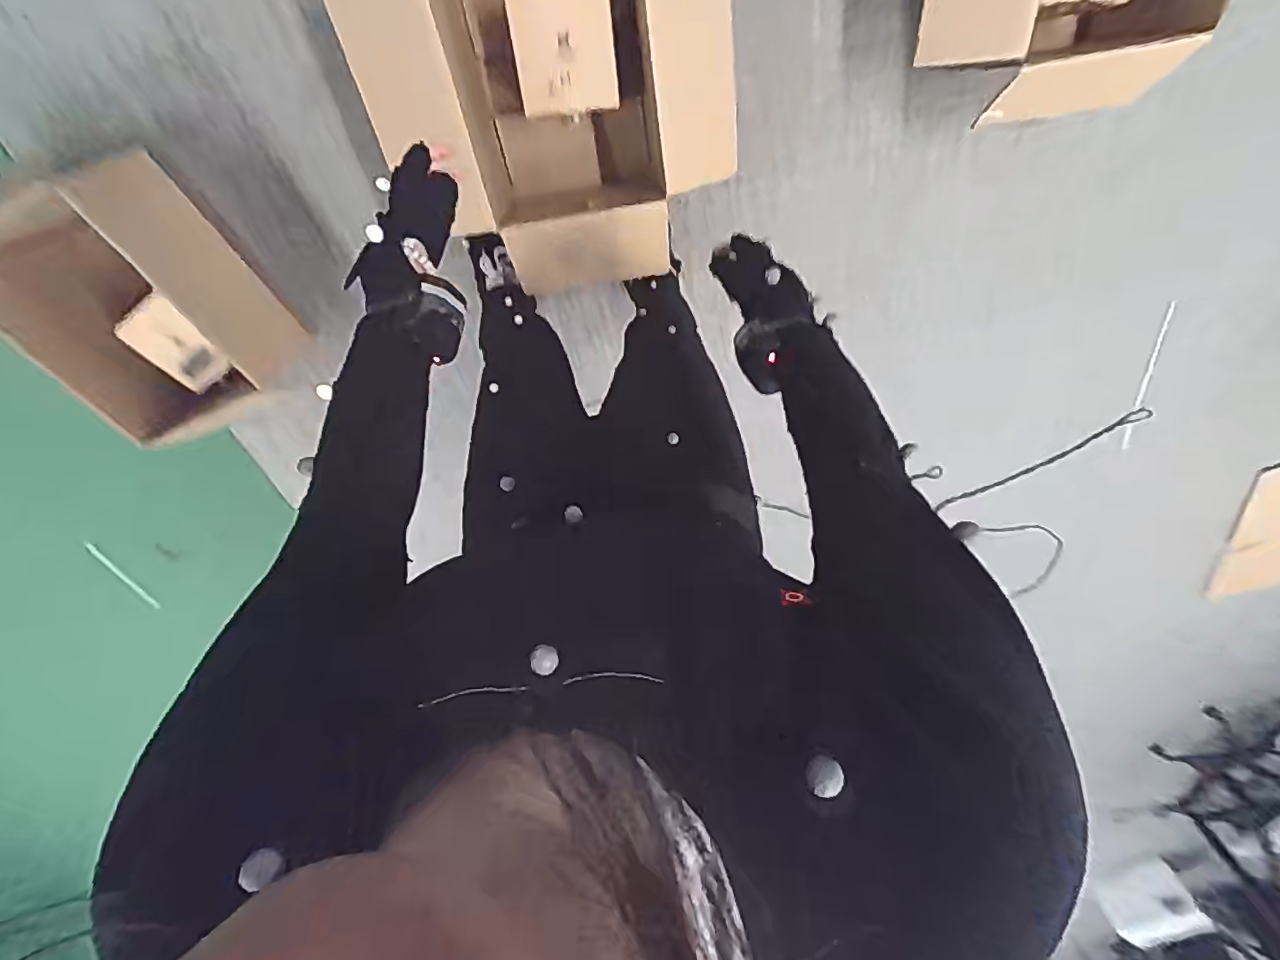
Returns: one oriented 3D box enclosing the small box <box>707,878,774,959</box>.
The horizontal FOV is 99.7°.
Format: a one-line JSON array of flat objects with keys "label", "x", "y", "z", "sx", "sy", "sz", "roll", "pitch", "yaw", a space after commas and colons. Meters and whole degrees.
[{"label": "small box", "x": 0.311, "y": 1.368, "z": 1.678, "sx": 0.168, "sy": 0.176, "sz": 0.179, "roll": -13, "pitch": 126, "yaw": 5}]
